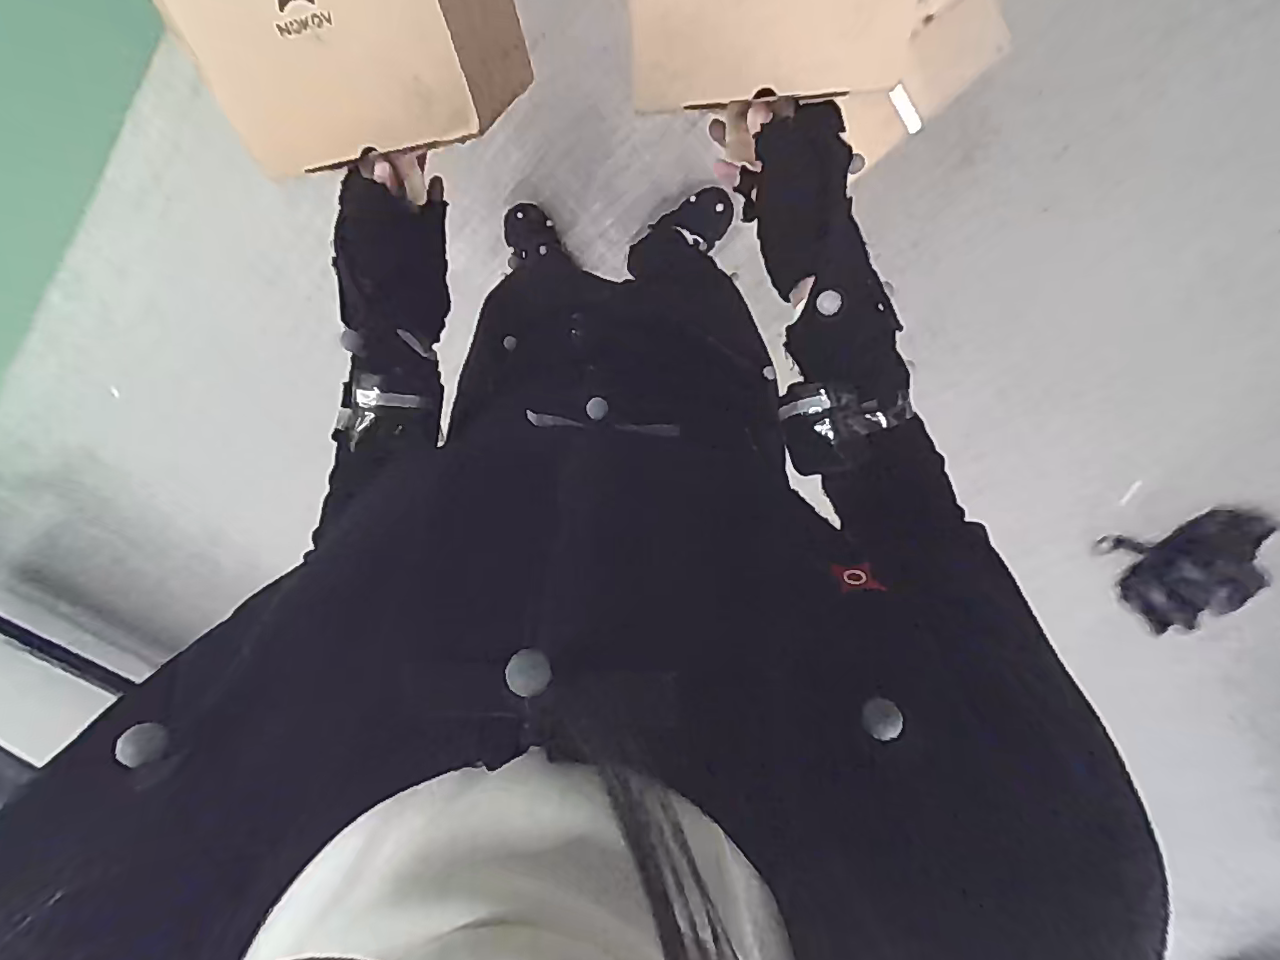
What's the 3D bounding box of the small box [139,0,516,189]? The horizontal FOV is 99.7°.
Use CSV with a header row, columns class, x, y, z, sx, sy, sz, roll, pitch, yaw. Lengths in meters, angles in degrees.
class,x,y,z,sx,sy,sz,roll,pitch,yaw
small box,-0.203,-0.335,0.369,0.168,0.176,0.179,-7,135,12
